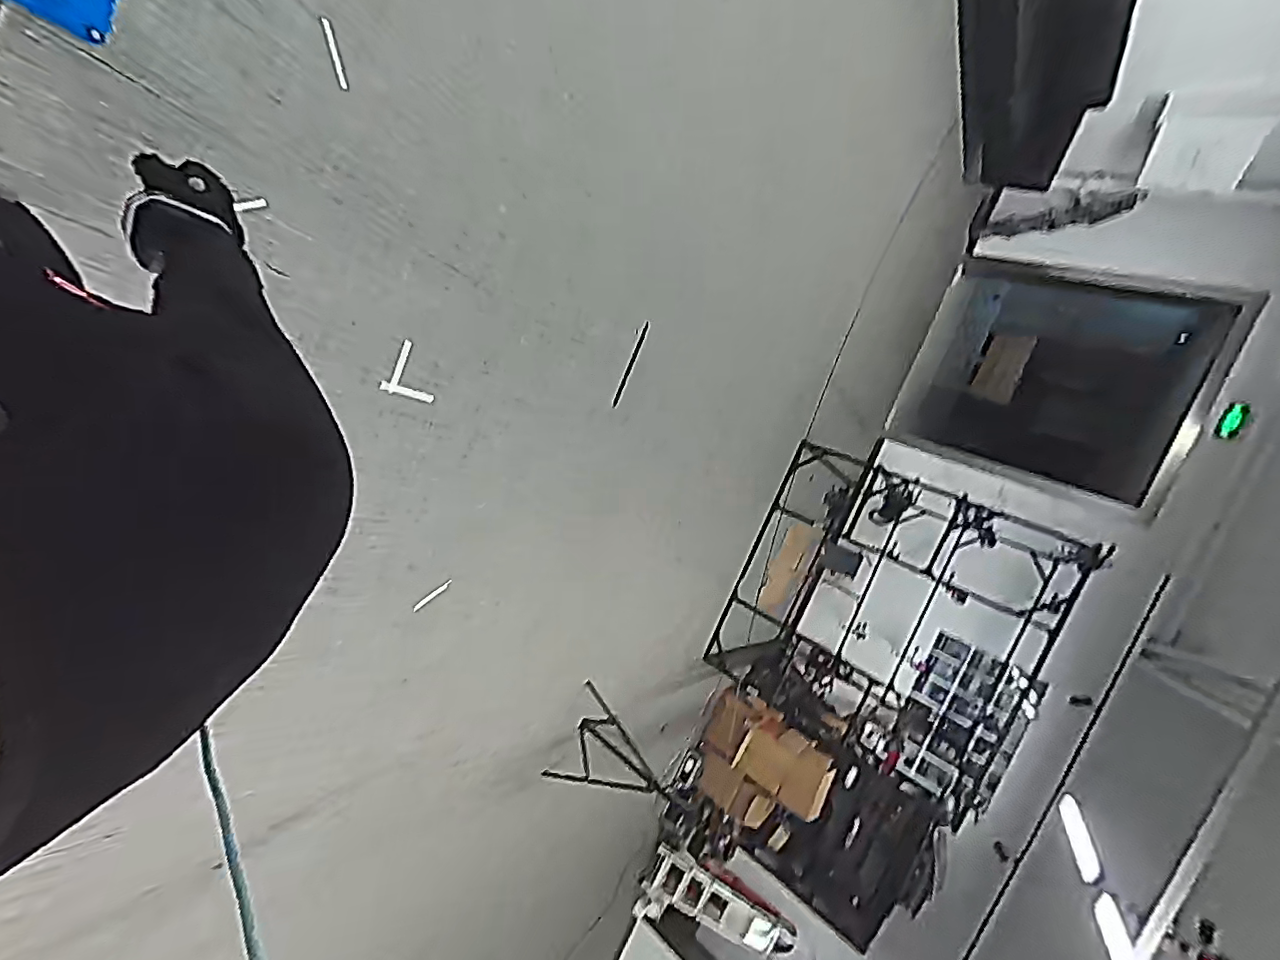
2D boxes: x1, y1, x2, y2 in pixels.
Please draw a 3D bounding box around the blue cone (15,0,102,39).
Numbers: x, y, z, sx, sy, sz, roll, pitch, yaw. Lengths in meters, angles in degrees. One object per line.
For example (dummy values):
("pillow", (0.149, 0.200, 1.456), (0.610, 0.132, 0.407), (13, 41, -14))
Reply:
("blue cone", (-0.823, -0.781, 0.755), (0.192, 0.380, 0.193), (11, 103, -58))
